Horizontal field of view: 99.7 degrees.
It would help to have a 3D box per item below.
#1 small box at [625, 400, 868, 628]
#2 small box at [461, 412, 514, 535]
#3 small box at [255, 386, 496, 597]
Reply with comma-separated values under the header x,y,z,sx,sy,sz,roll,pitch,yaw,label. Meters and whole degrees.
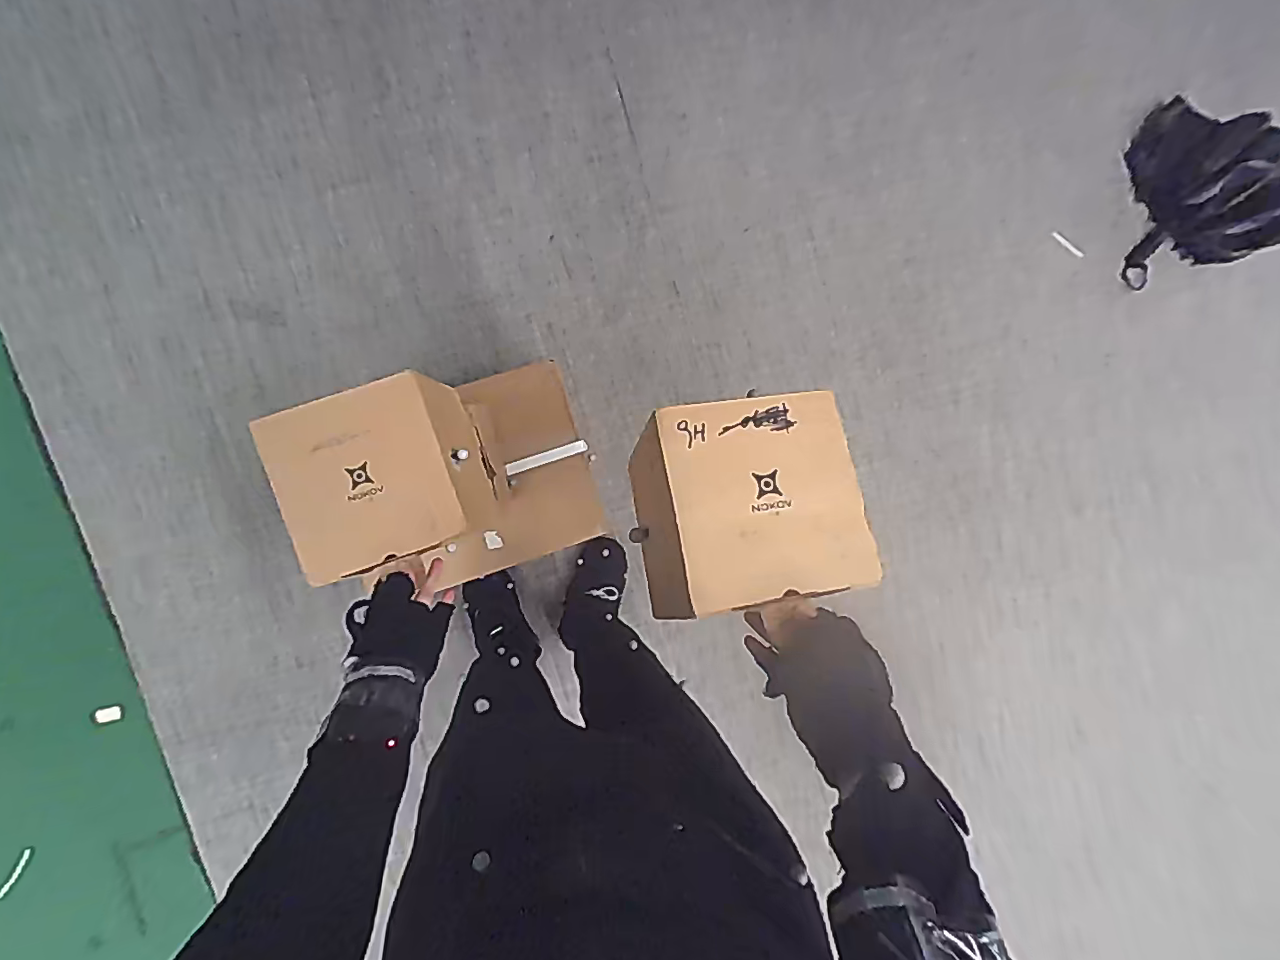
x,y,z,sx,sy,sz,roll,pitch,yaw,label
0.086,0.039,0.531,0.168,0.176,0.179,-8,78,-11,small box
-0.294,0.000,0.800,0.179,0.176,0.168,-19,101,-6,small box
-0.280,0.008,0.619,0.168,0.176,0.179,-20,93,-3,small box
